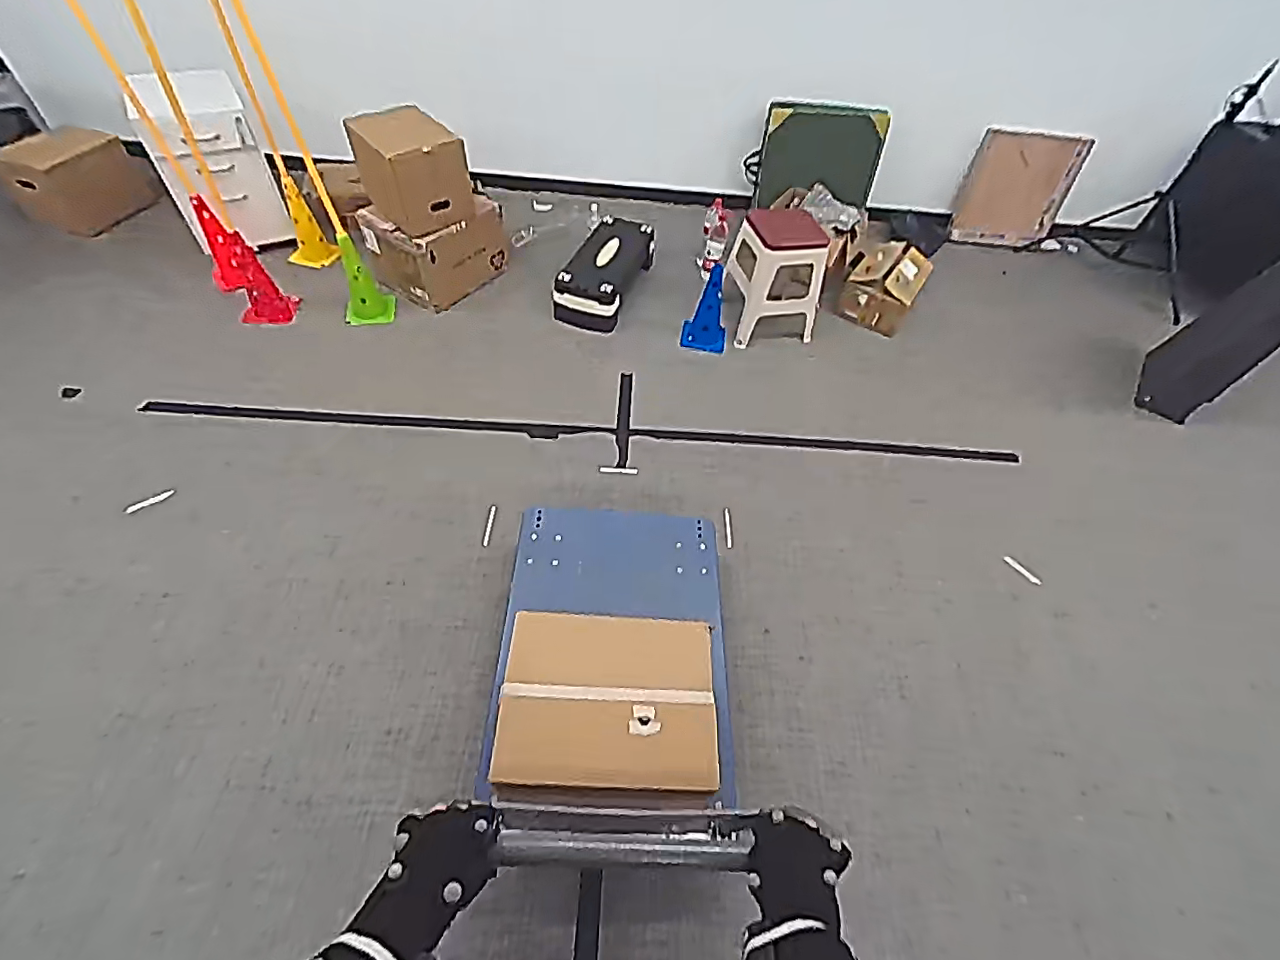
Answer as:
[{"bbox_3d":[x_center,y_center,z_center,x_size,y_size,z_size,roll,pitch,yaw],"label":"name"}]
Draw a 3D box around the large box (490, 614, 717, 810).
[{"bbox_3d":[-0.076,0.497,1.140,0.408,0.320,0.320,5,53,-4],"label":"large box"}]
